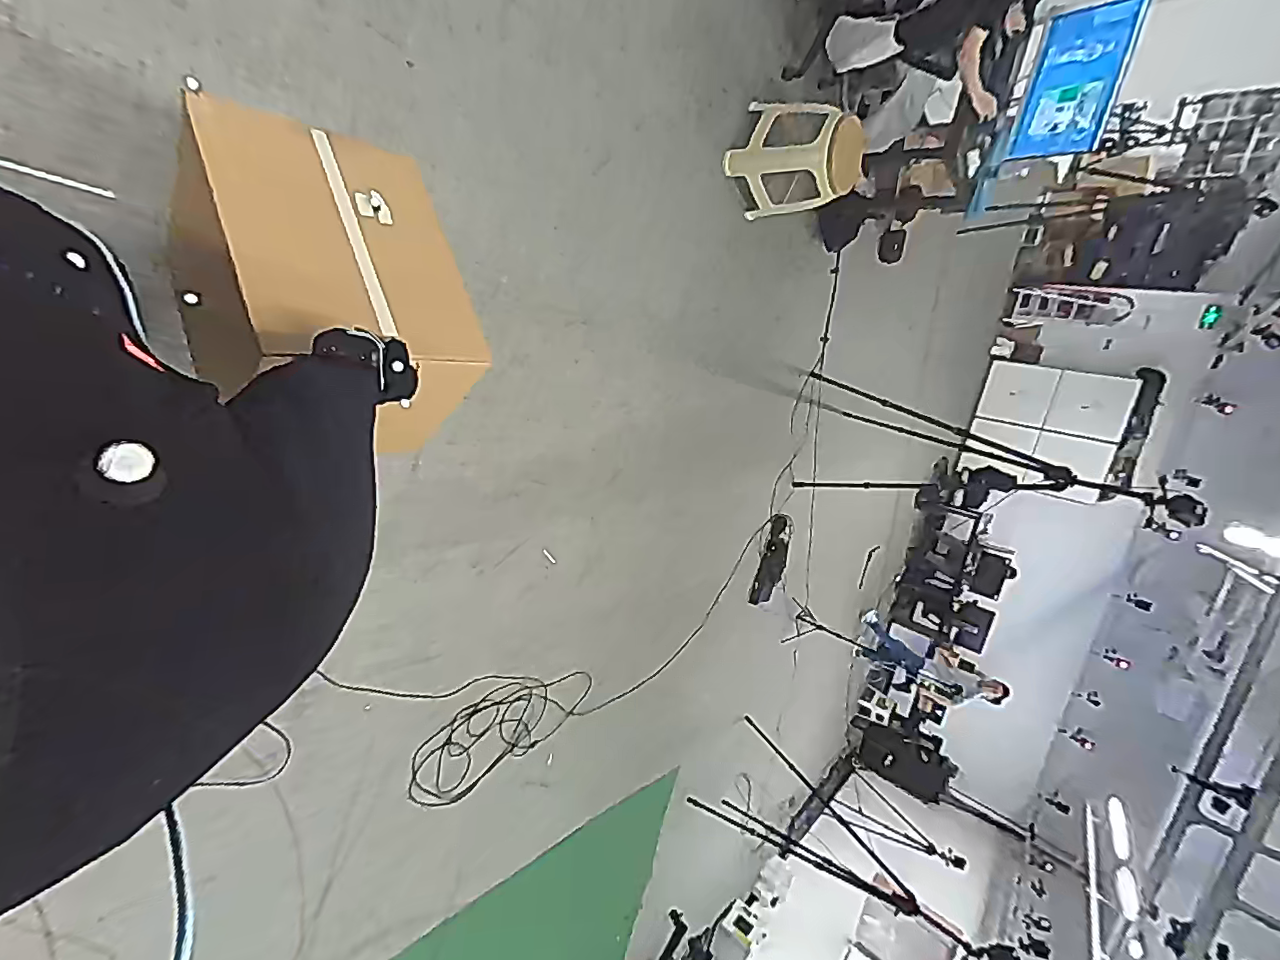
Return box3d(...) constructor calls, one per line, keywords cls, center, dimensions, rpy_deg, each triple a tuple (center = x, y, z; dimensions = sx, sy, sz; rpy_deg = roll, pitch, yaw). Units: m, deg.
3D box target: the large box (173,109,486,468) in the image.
box3d(cls="large box", center=(-0.518, -0.275, 0.888), dimensions=(0.320, 0.320, 0.408), rpy_deg=(-11, 73, -48))
